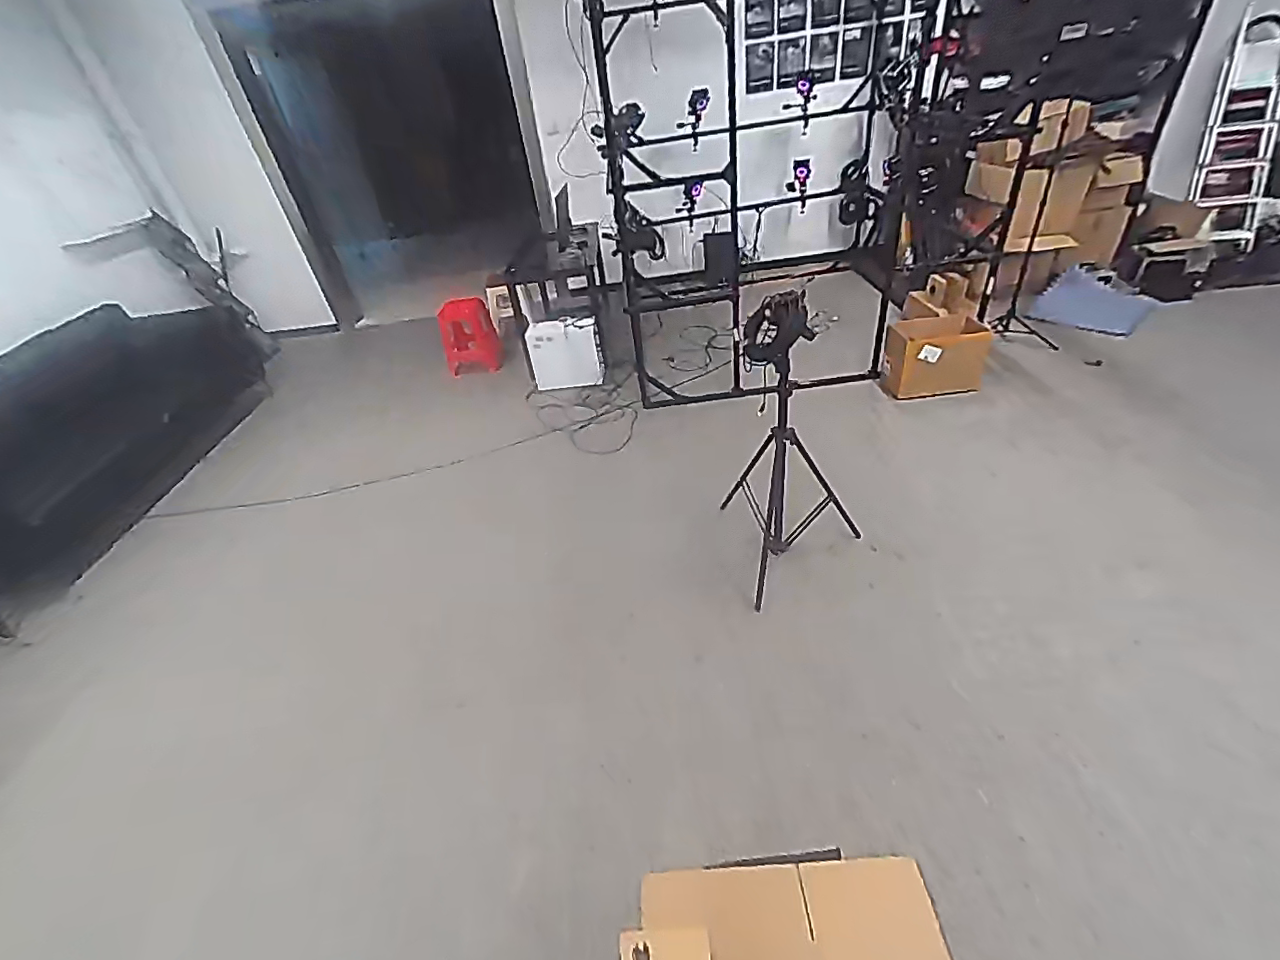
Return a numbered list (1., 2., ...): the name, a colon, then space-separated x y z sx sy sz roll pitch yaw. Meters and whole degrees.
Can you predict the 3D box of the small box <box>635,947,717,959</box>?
1. small box: 0.085 1.110 1.135 0.179 0.176 0.168 -7 37 4
